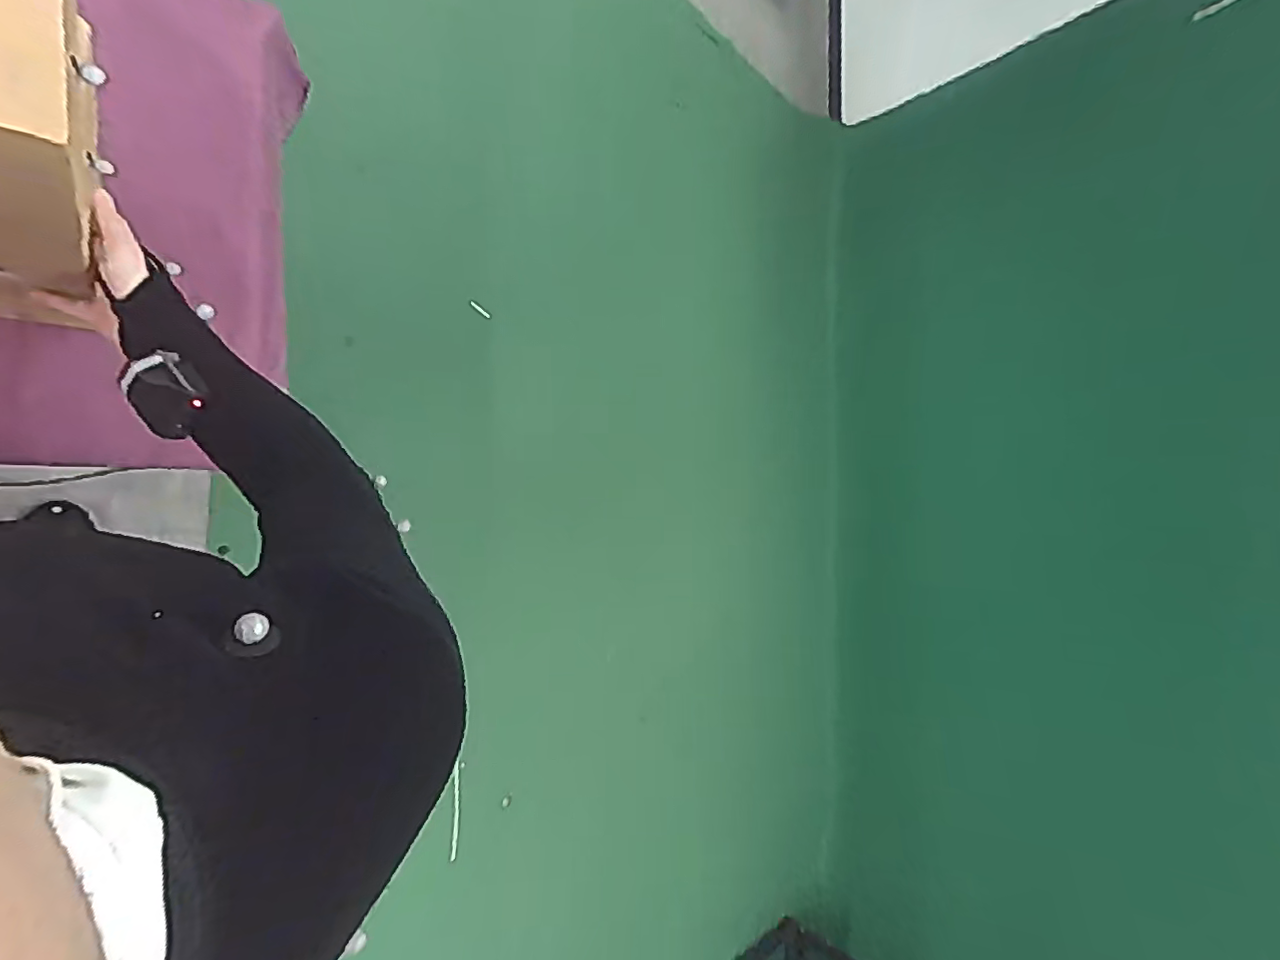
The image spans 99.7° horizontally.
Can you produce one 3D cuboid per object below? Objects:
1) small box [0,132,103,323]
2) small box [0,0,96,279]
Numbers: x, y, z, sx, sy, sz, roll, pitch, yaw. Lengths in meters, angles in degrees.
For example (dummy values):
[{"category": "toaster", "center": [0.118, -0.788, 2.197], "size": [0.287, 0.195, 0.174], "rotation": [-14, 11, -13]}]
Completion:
[{"category": "small box", "center": [-0.664, -0.276, 0.544], "size": [0.168, 0.176, 0.179], "rotation": [1, 89, -43]}, {"category": "small box", "center": [-0.549, -0.280, 0.423], "size": [0.168, 0.176, 0.179], "rotation": [3, 86, -44]}]
